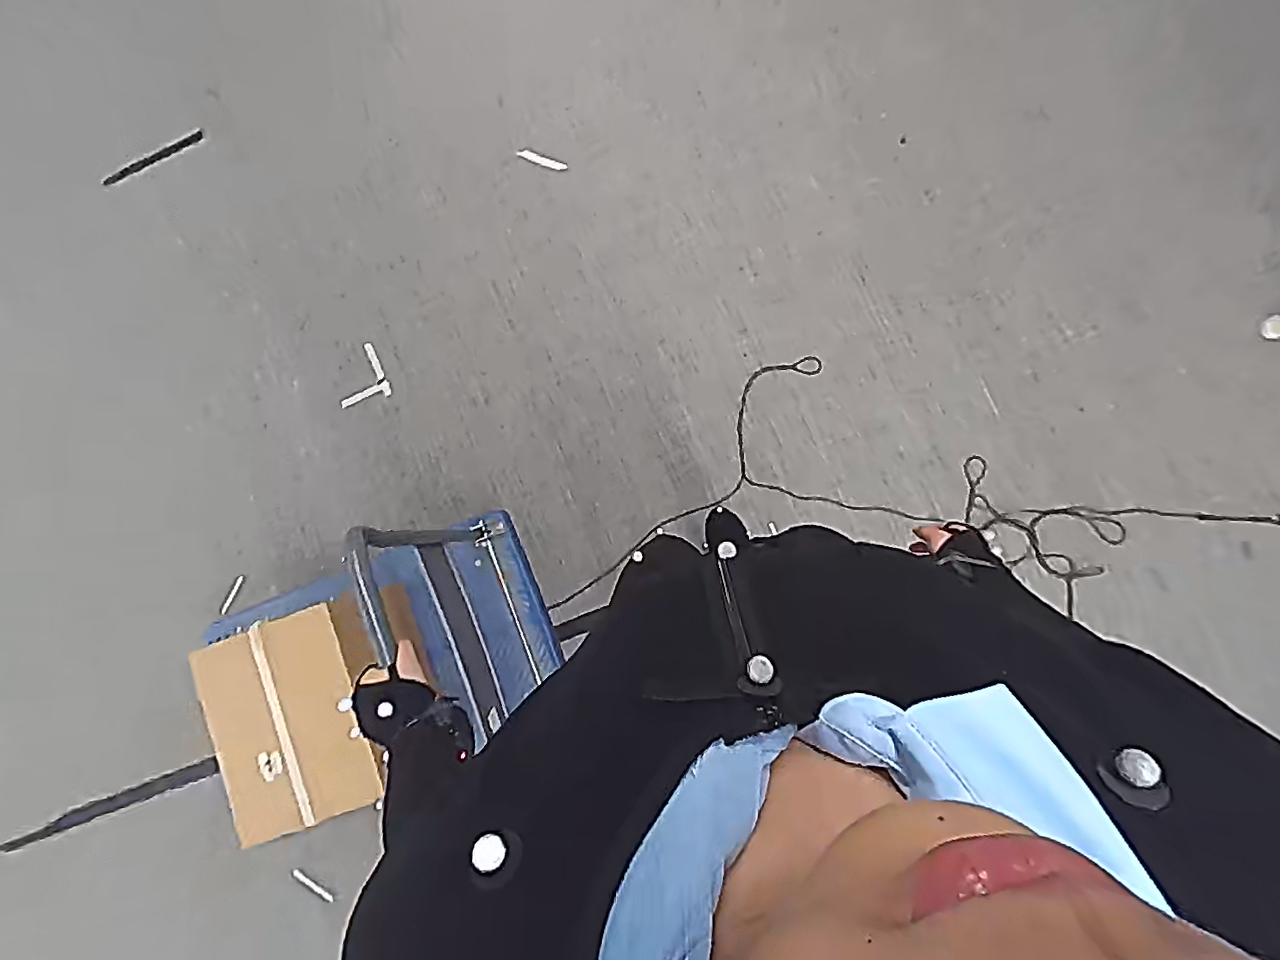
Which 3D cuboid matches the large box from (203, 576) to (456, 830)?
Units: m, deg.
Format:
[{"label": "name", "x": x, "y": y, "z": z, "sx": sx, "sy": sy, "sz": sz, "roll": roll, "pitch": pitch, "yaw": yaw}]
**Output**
[{"label": "large box", "x": -0.679, "y": 0.473, "z": 1.237, "sx": 0.320, "sy": 0.320, "sz": 0.408, "roll": -20, "pitch": 86, "yaw": 4}]
